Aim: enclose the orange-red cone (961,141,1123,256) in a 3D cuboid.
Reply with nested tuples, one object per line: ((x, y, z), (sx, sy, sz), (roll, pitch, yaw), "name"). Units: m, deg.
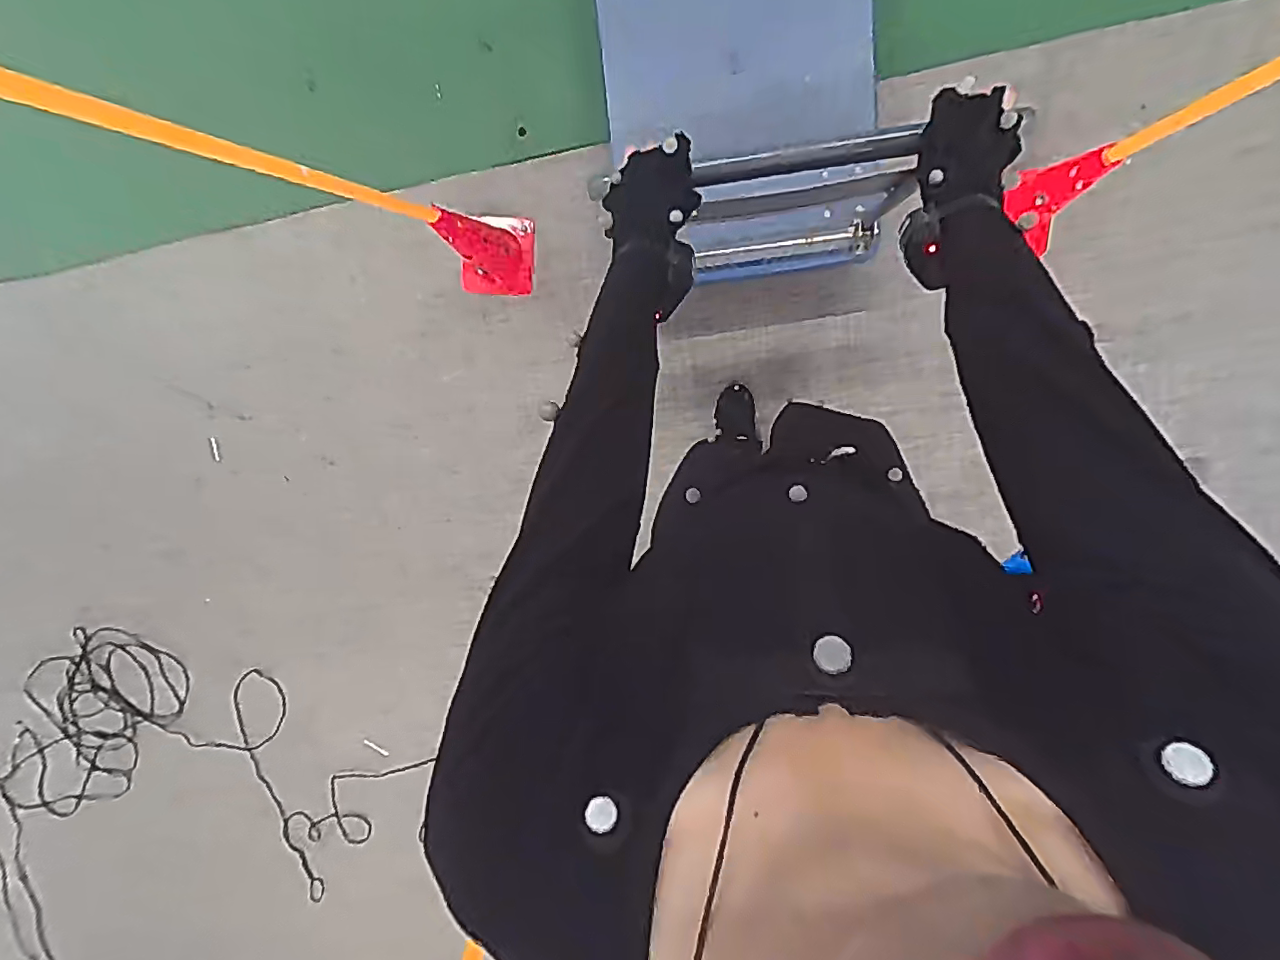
((0.868, -0.614, 1.136), (0.198, 0.360, 0.199), (4, 101, 7), "orange-red cone")
